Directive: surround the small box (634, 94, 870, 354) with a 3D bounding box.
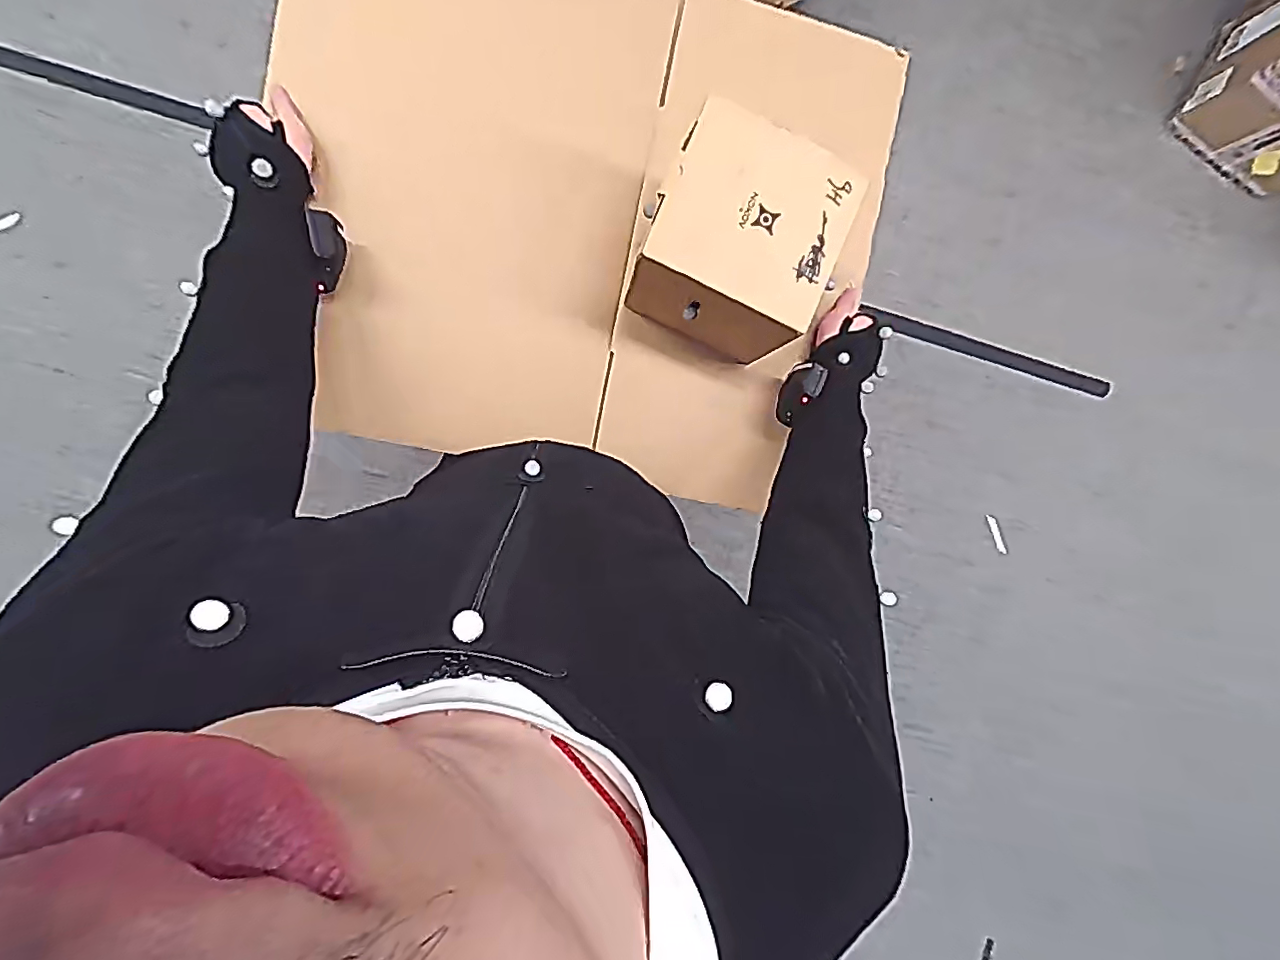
[{"bbox_3d":[0.104,-0.255,0.589,0.179,0.176,0.168,24,89,-6],"label":"small box"}]
